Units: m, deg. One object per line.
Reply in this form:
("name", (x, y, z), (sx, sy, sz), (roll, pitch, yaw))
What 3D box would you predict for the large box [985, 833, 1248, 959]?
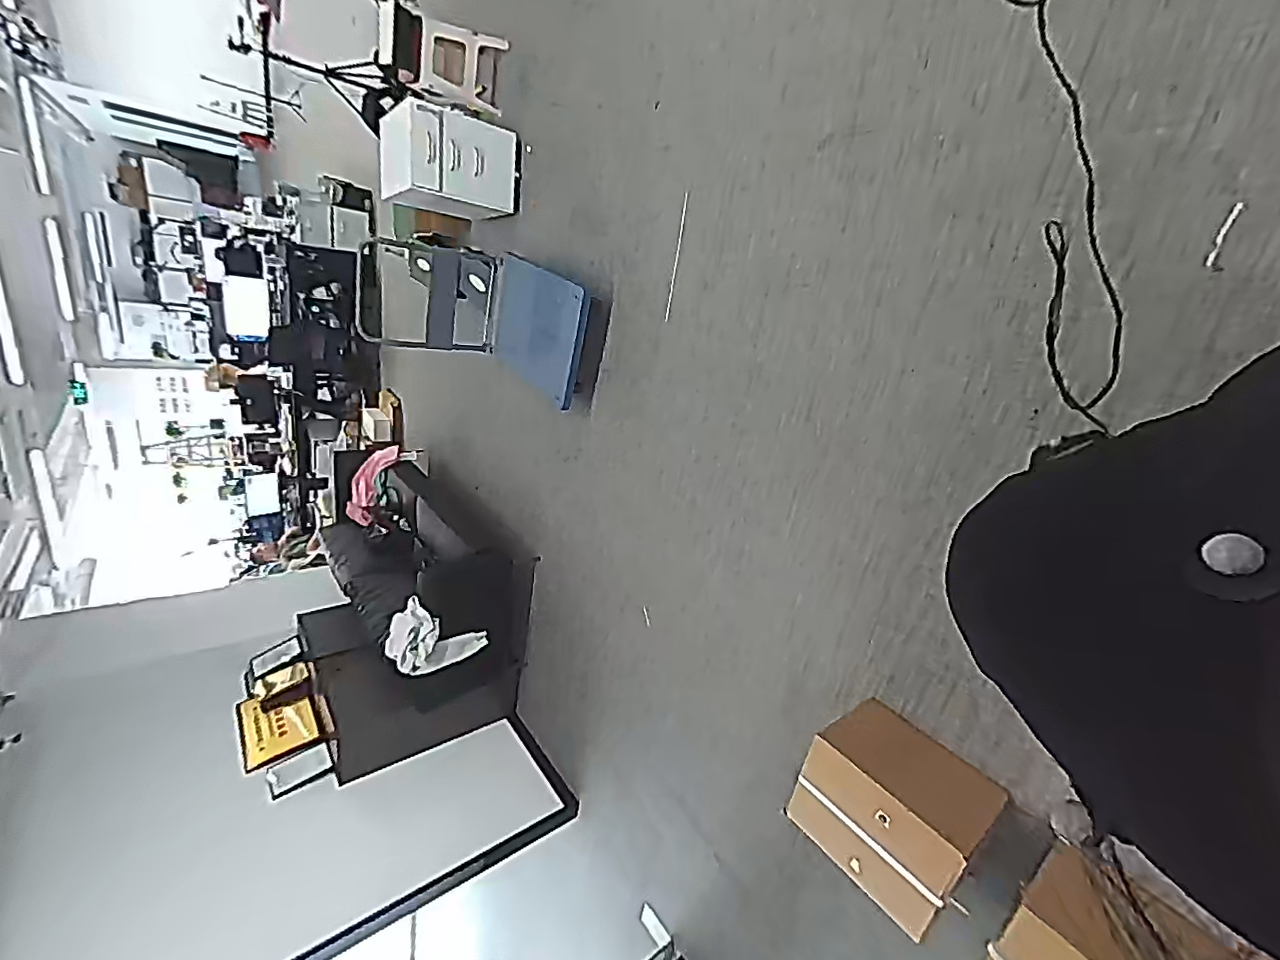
("large box", (1.006, 1.072, 1.133), (0.408, 0.320, 0.320), (30, 118, 42))
